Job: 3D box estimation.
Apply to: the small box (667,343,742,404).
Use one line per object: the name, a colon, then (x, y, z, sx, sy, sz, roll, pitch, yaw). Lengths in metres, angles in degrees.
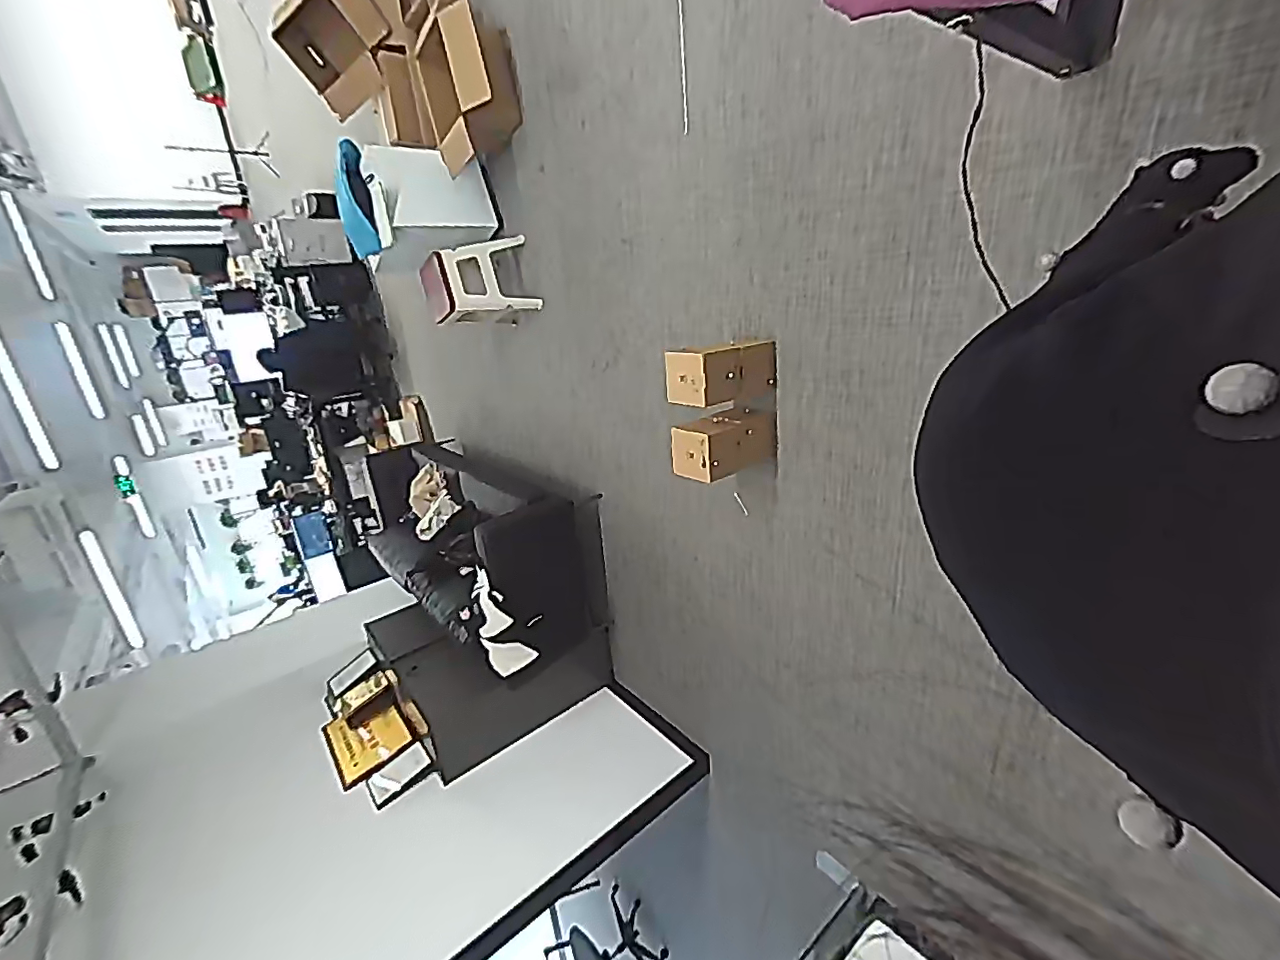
small box: (0.208, -0.347, 1.741, 0.179, 0.176, 0.168, 19, 121, 48)

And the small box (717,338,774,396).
small box: (0.340, -0.388, 1.831, 0.179, 0.176, 0.168, 18, 120, 49)
